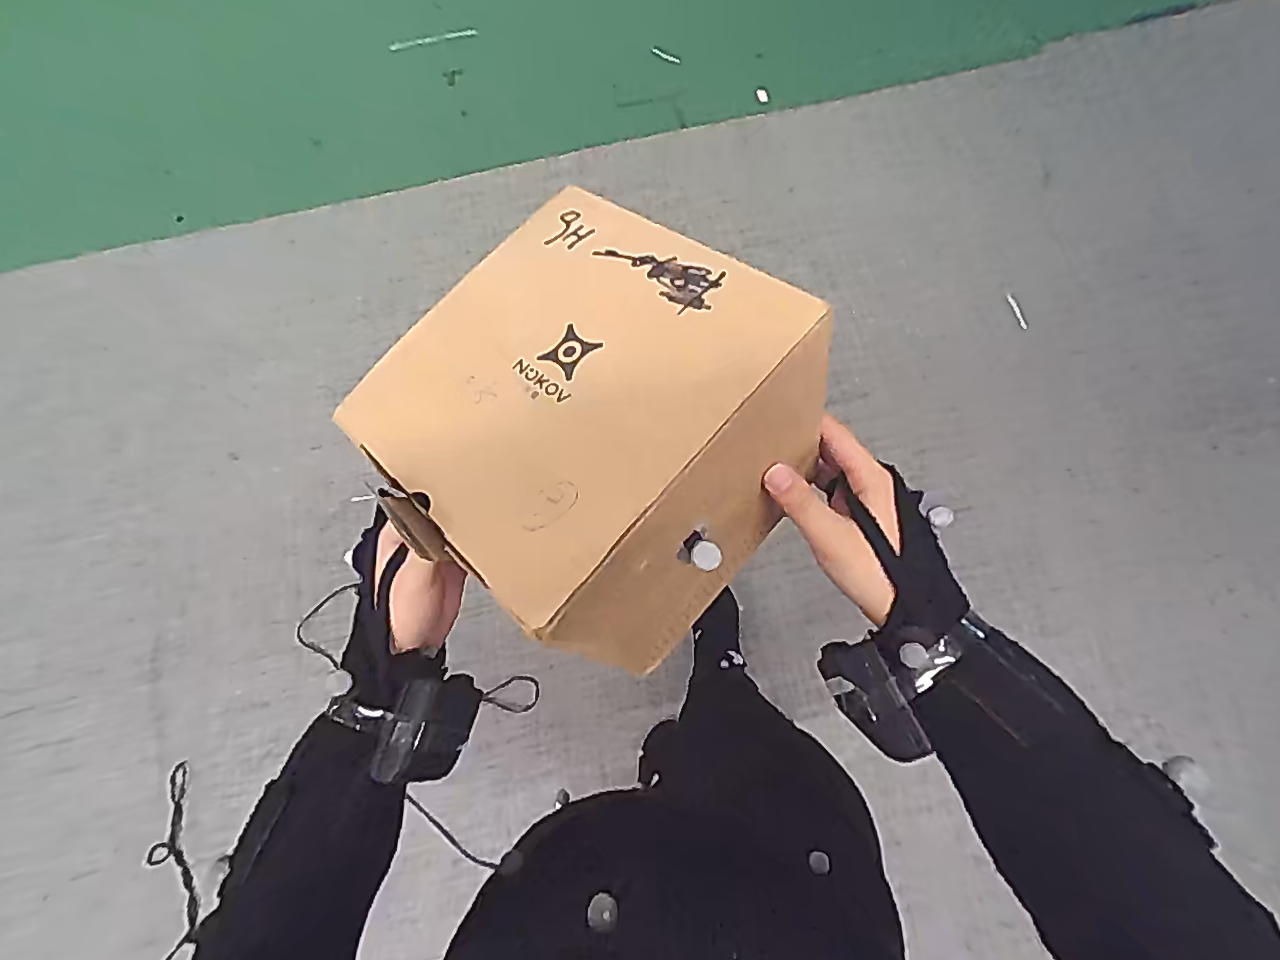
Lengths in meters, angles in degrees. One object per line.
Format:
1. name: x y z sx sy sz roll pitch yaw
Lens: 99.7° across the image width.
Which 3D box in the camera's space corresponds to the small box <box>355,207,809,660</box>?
1. small box: -0.016 -0.015 0.325 0.168 0.176 0.179 37 80 27
